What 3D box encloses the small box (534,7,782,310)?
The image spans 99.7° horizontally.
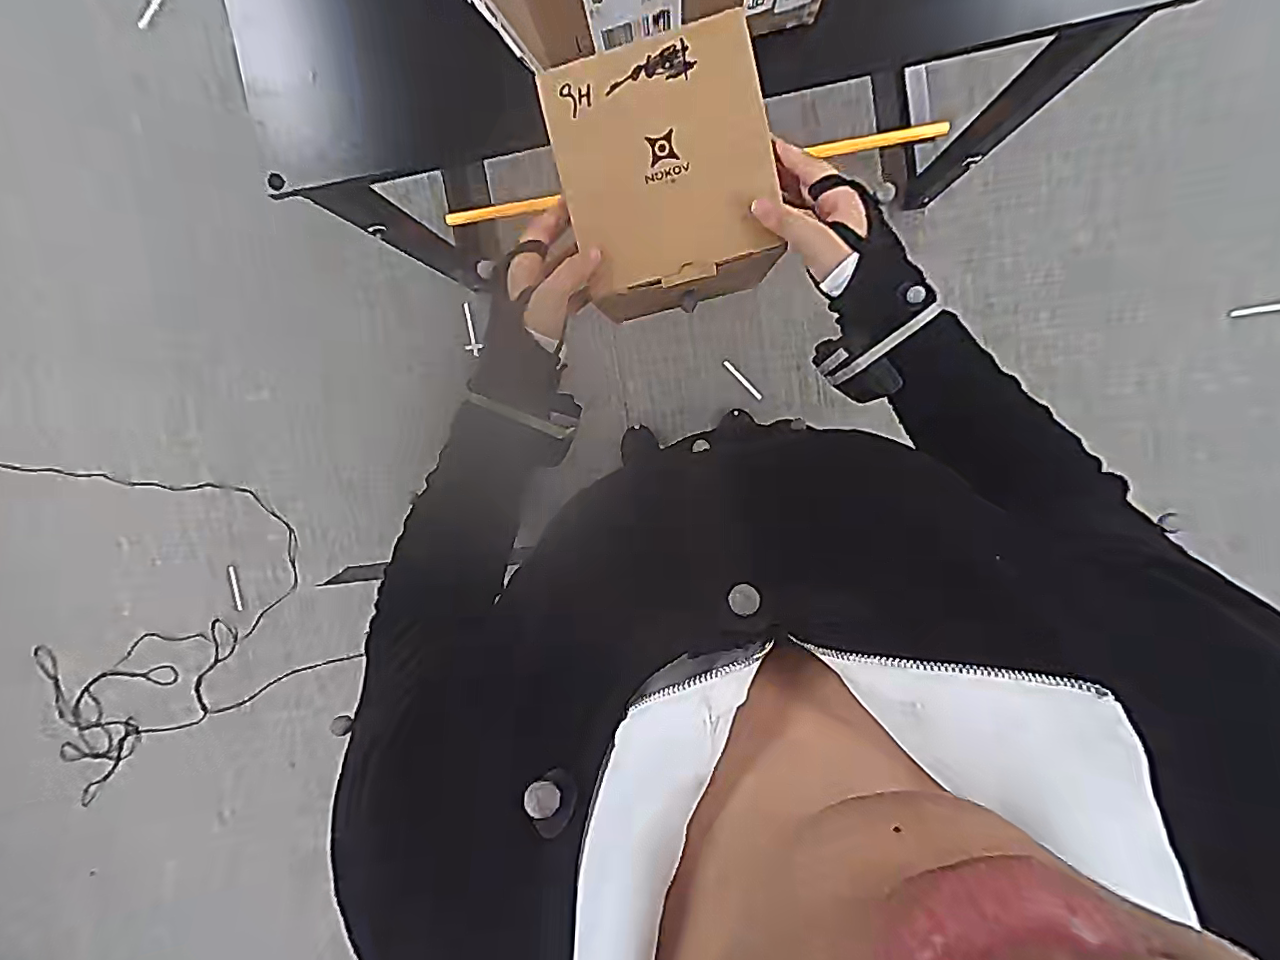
[{"bbox_3d":[0.023,-0.264,0.499,0.168,0.176,0.179,-13,100,7],"label":"small box"}]
